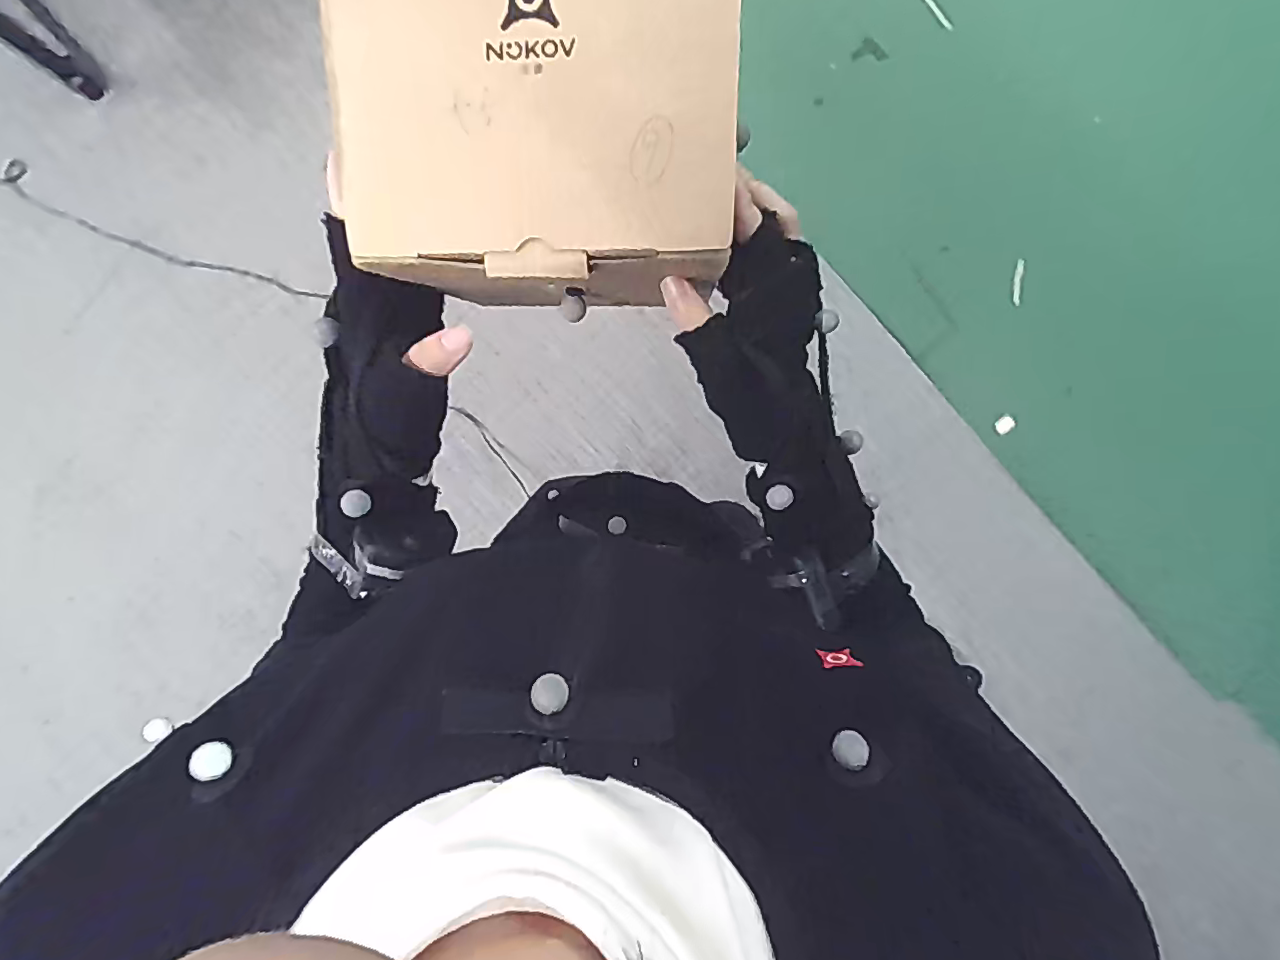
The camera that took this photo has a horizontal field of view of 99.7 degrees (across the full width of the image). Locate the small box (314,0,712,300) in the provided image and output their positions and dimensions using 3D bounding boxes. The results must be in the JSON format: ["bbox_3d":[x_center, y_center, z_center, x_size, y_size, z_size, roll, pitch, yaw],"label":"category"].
[{"bbox_3d":[-0.046,-0.197,0.298,0.168,0.176,0.179,1,102,3],"label":"small box"}]
